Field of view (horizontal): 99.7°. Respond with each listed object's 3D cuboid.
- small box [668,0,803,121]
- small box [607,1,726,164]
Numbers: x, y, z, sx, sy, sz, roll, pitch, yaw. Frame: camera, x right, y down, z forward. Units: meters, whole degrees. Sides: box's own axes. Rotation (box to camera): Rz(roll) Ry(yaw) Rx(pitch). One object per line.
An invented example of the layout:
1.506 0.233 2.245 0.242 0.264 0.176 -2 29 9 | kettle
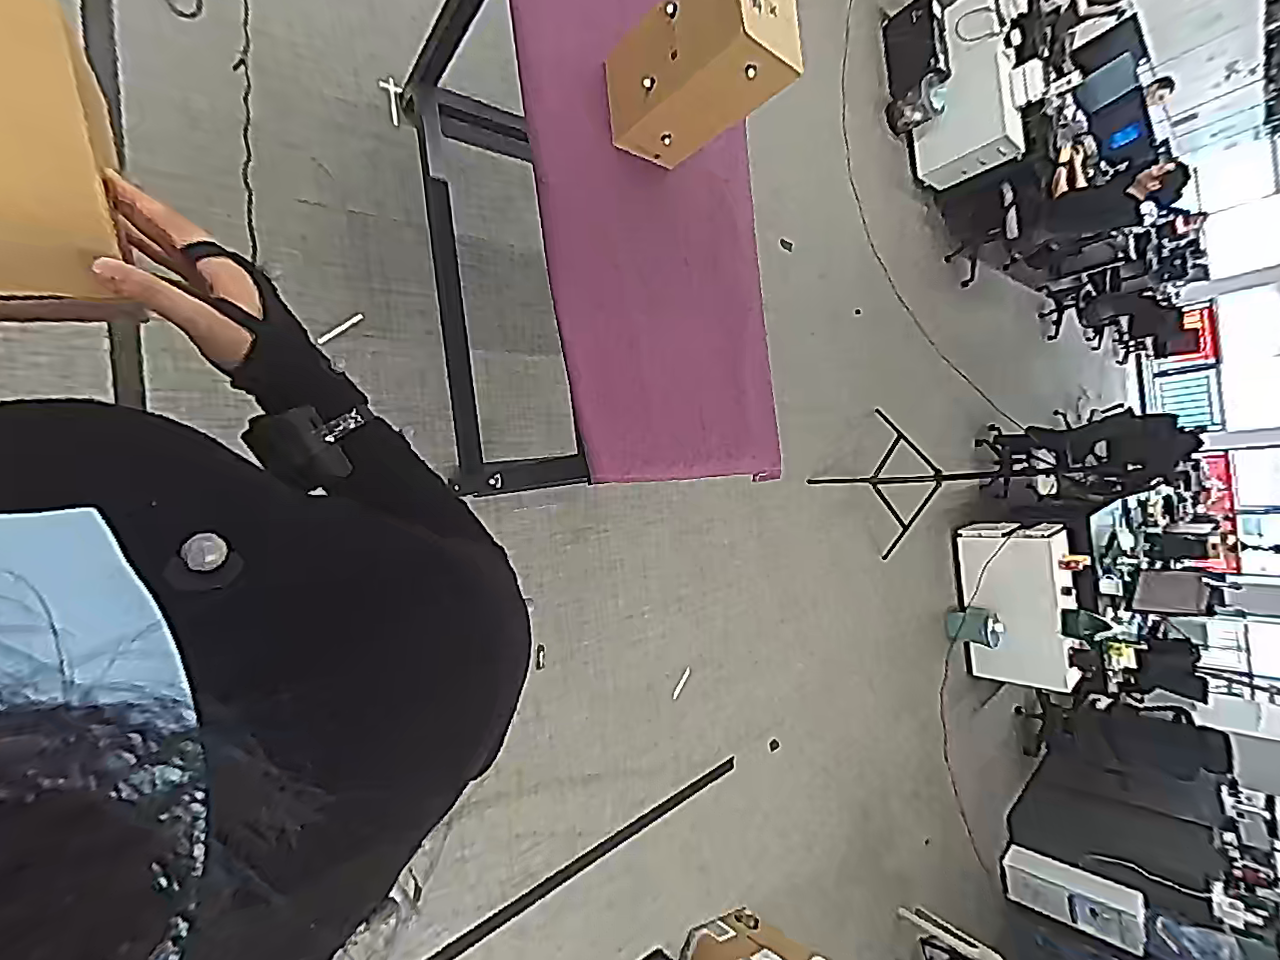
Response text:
0.164 -0.785 0.962 0.179 0.176 0.168 -7 92 -42 | small box
0.051 -0.774 1.081 0.168 0.176 0.179 -5 90 -41 | small box
